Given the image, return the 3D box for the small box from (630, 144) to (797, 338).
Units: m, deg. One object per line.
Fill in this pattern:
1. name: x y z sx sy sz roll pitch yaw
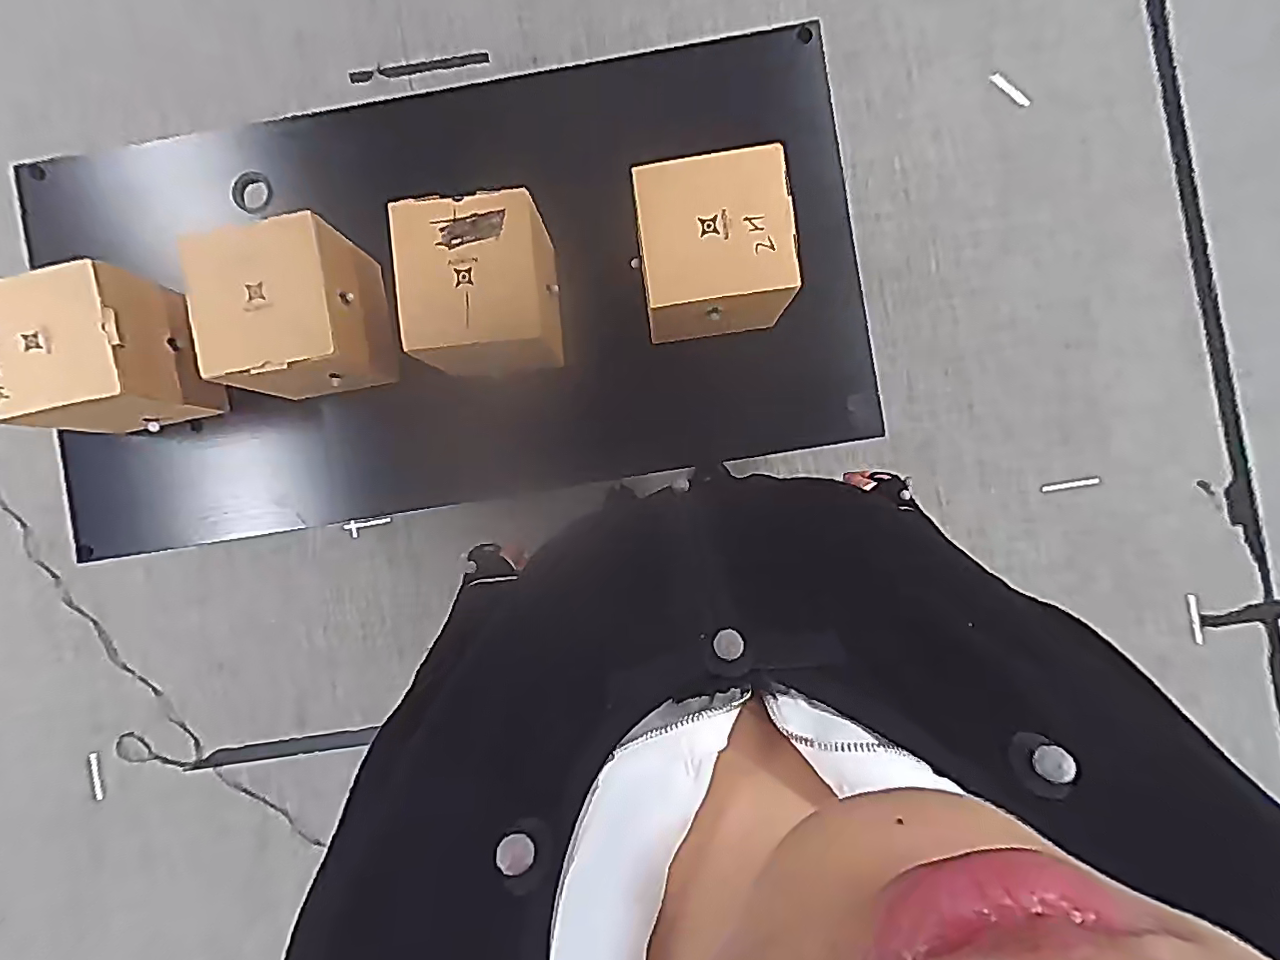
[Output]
1. small box: 0.088 -0.291 0.697 0.179 0.176 0.168 -7 90 2

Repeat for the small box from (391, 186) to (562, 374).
1. small box: -0.200 -0.247 0.705 0.168 0.176 0.179 -6 91 1

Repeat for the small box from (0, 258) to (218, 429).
1. small box: -0.705 -0.168 0.716 0.179 0.176 0.168 -11 90 0

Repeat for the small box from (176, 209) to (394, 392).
1. small box: -0.448 -0.220 0.712 0.168 0.176 0.179 -10 89 0
